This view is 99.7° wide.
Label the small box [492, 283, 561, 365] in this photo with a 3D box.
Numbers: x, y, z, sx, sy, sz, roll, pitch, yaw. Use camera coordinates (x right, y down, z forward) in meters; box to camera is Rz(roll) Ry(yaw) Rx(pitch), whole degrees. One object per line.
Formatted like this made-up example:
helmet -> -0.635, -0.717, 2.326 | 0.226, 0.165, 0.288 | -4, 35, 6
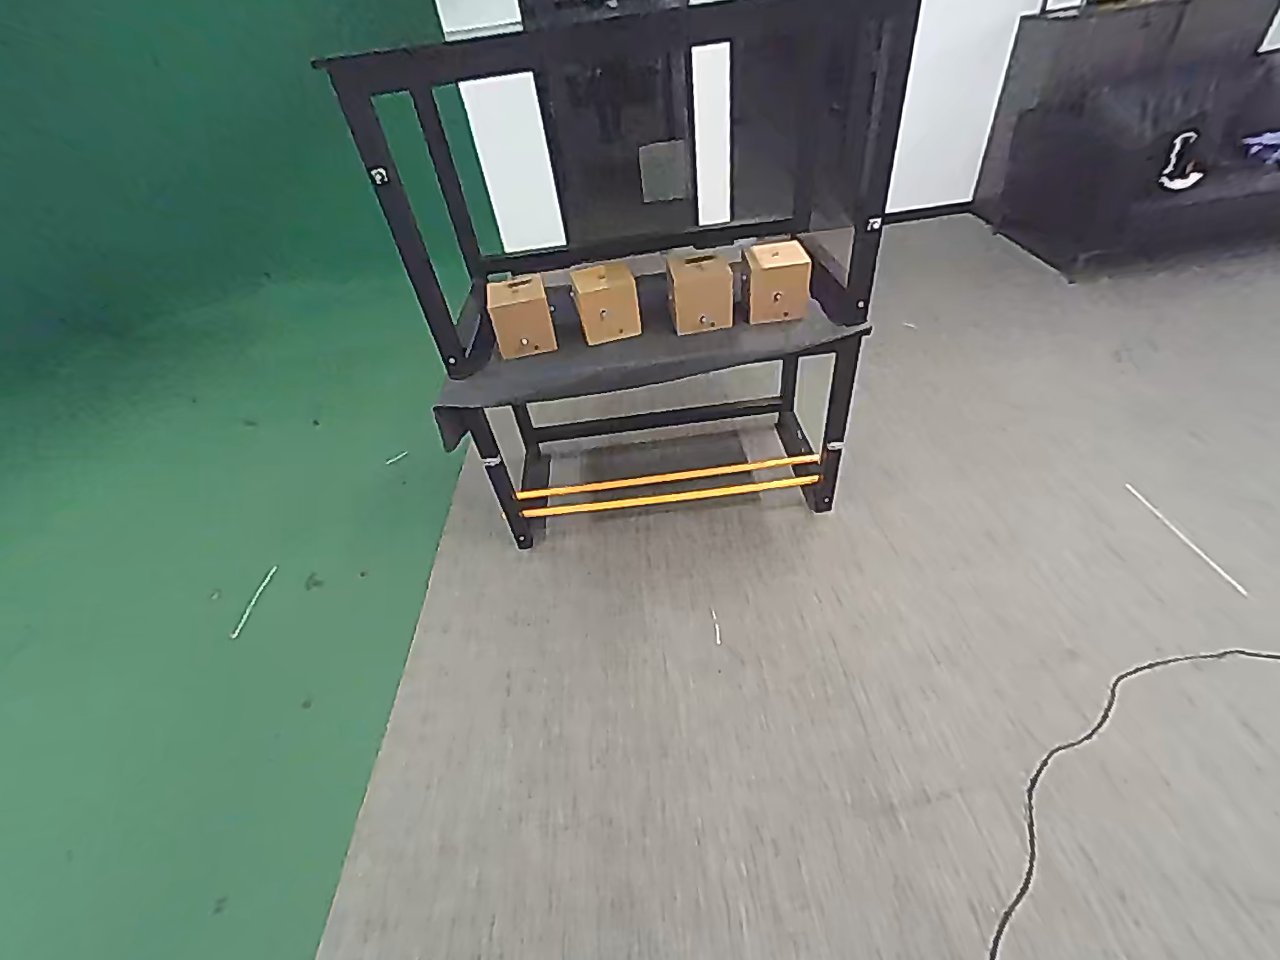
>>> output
small box -> -0.341, -0.468, 1.625 | 0.168, 0.176, 0.179 | -13, 42, -4
